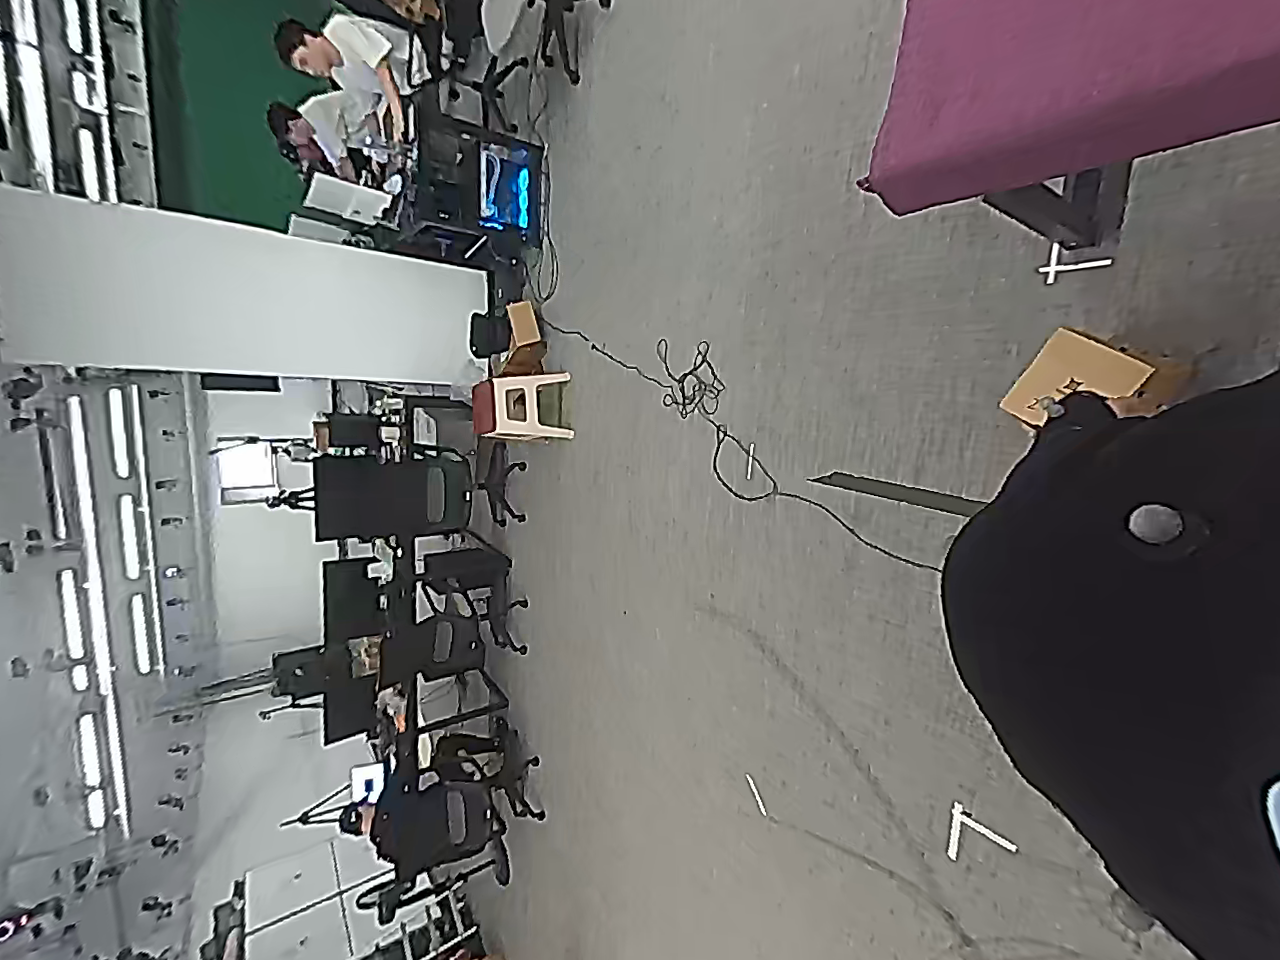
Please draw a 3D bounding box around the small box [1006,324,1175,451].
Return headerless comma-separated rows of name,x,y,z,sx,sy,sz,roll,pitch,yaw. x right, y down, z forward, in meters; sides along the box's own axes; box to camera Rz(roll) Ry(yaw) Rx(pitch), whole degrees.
small box,0.856,-0.175,1.027,0.168,0.176,0.179,51,133,38
